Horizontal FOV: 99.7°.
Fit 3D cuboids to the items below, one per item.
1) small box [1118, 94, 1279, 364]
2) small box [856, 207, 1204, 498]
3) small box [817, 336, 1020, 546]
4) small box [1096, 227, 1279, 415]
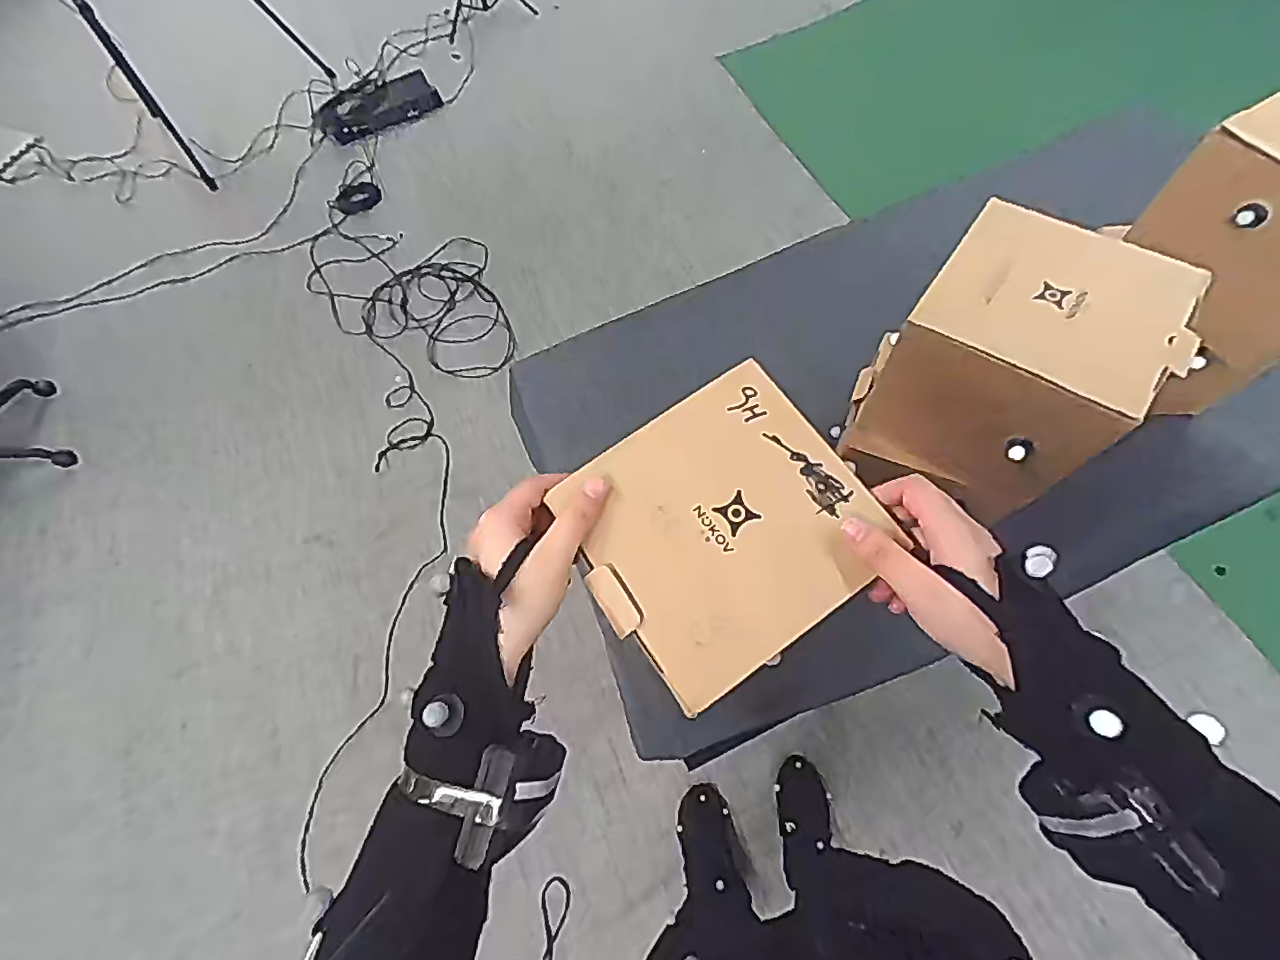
[{"bbox_3d":[0.627,-0.249,0.526,0.168,0.176,0.179,-30,66,-5],"label":"small box"},{"bbox_3d":[0.333,-0.105,0.500,0.179,0.176,0.168,33,72,20],"label":"small box"},{"bbox_3d":[0.334,-0.037,0.649,0.179,0.176,0.168,21,69,16],"label":"small box"},{"bbox_3d":[0.638,-0.193,0.681,0.179,0.176,0.168,1,66,9],"label":"small box"}]
